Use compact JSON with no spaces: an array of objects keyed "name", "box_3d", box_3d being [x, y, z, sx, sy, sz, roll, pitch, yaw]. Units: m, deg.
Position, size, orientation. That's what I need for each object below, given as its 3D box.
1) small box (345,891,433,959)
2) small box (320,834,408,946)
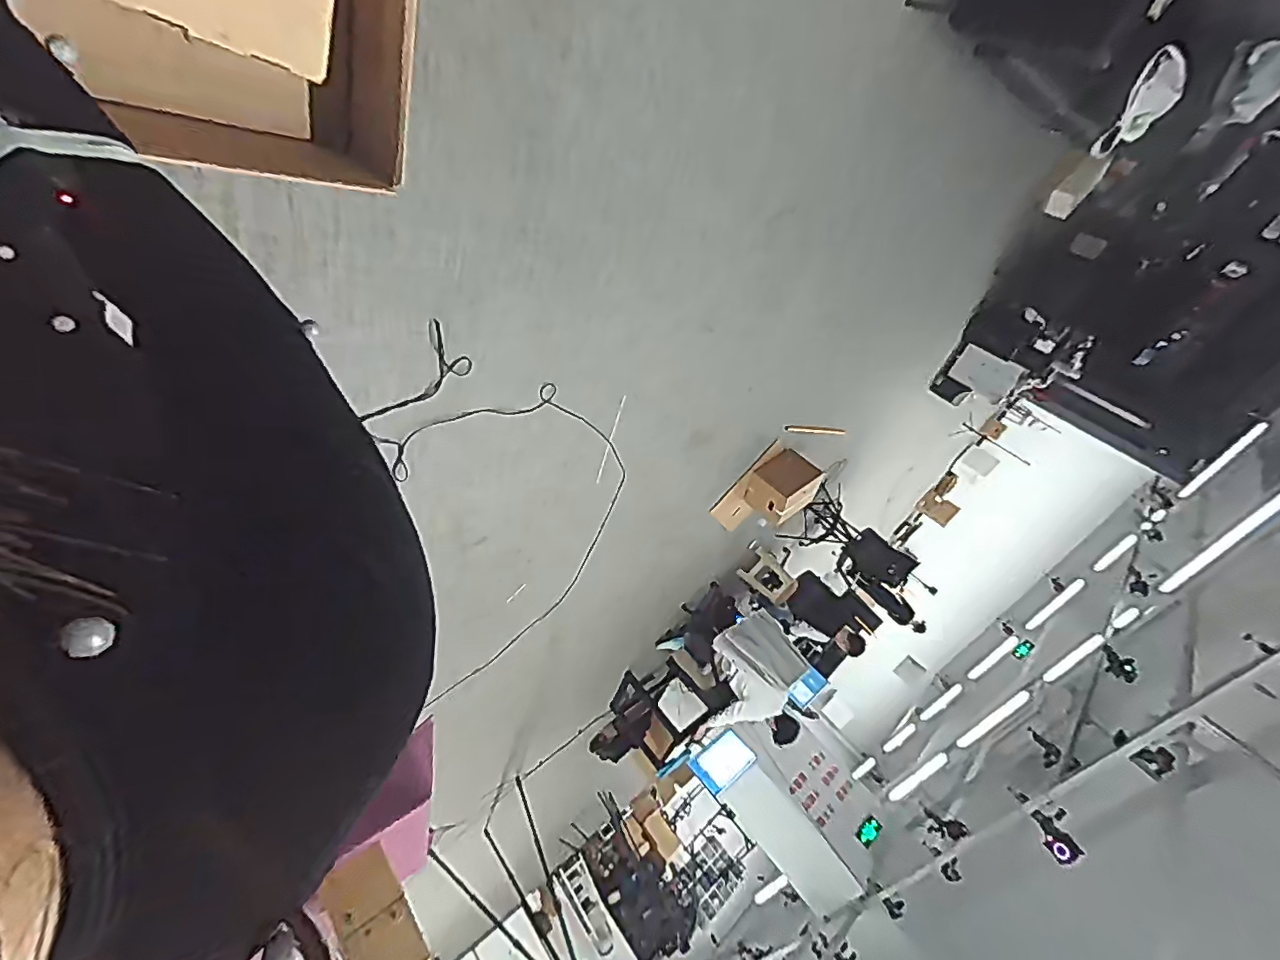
[{"name":"small box","box_3d":[-0.677,1.257,1.455,0.168,0.176,0.179,-19,144,-39]},{"name":"small box","box_3d":[-0.779,1.154,1.531,0.179,0.176,0.168,-19,142,-39]}]
